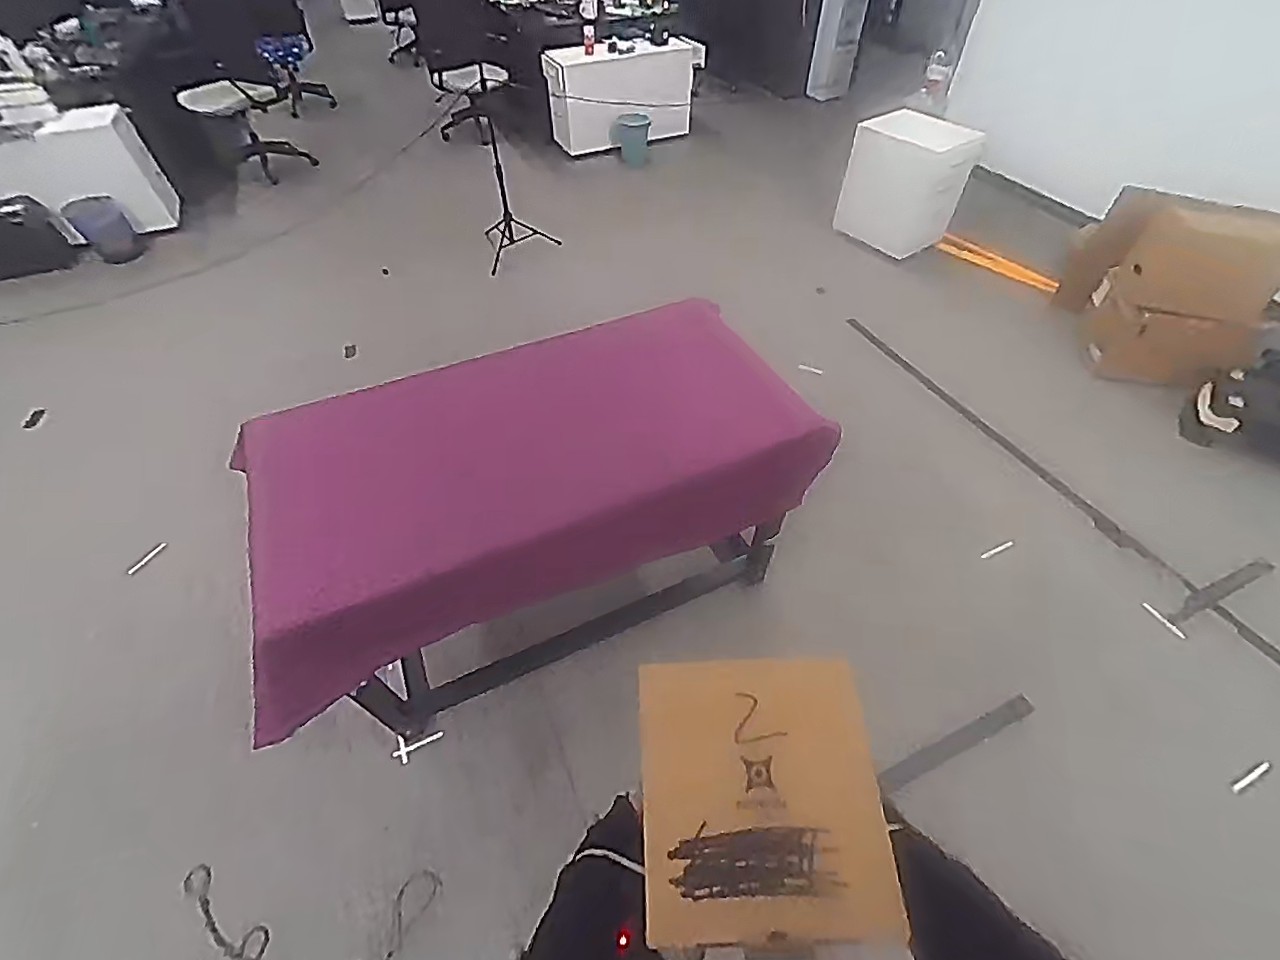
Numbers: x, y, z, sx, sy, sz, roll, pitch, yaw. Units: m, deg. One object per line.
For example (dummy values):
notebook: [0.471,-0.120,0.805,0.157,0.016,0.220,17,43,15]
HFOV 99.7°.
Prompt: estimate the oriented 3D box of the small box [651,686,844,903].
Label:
small box: [0.099,0.333,0.588,0.168,0.176,0.179,-5,61,2]
